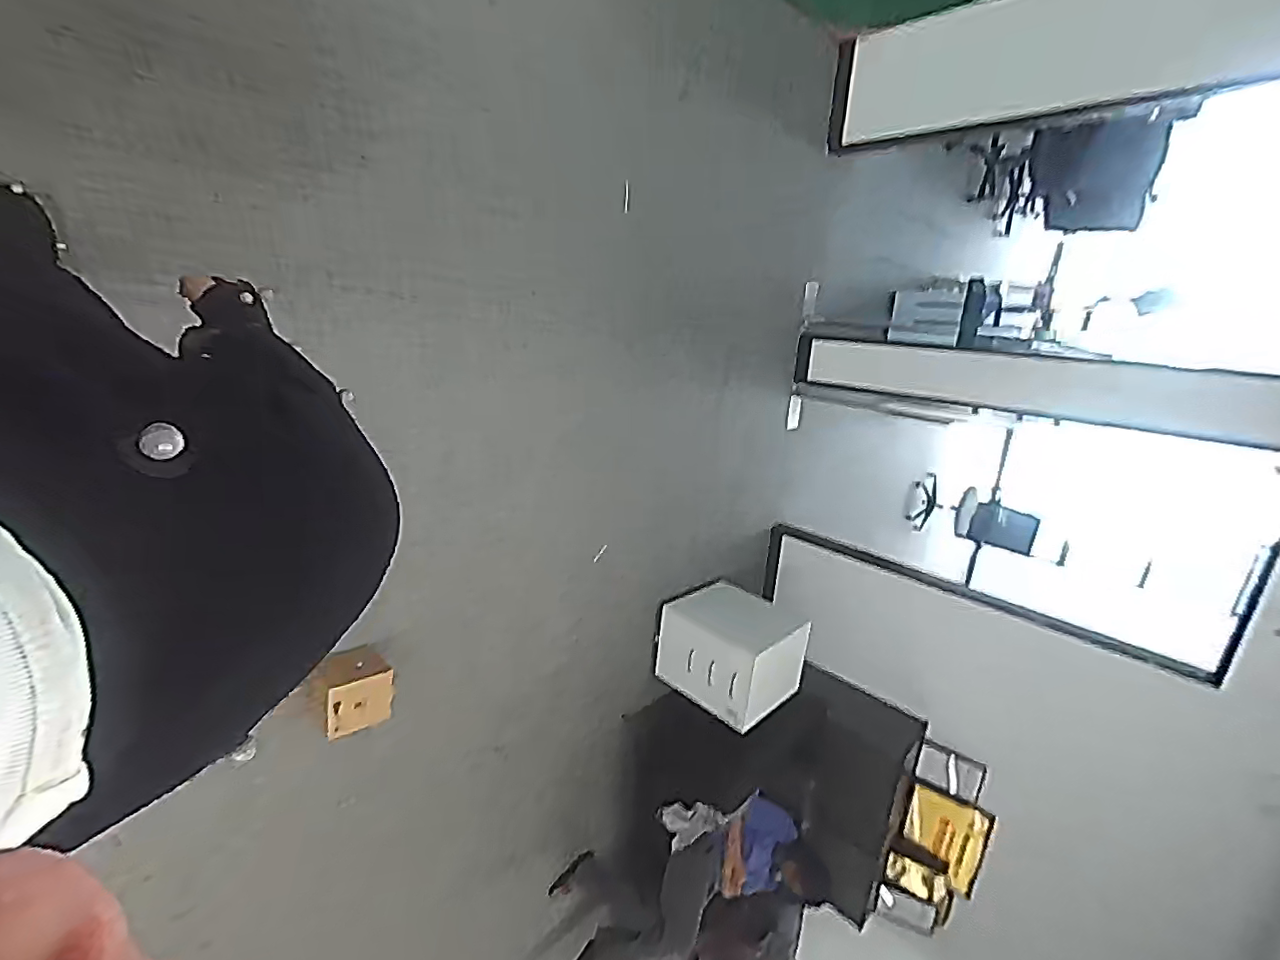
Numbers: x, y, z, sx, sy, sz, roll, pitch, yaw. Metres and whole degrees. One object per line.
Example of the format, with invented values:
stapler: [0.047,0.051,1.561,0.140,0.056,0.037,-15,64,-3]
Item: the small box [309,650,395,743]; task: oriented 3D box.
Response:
small box: [-0.848,0.627,1.591,0.179,0.176,0.168,-5,109,-47]
